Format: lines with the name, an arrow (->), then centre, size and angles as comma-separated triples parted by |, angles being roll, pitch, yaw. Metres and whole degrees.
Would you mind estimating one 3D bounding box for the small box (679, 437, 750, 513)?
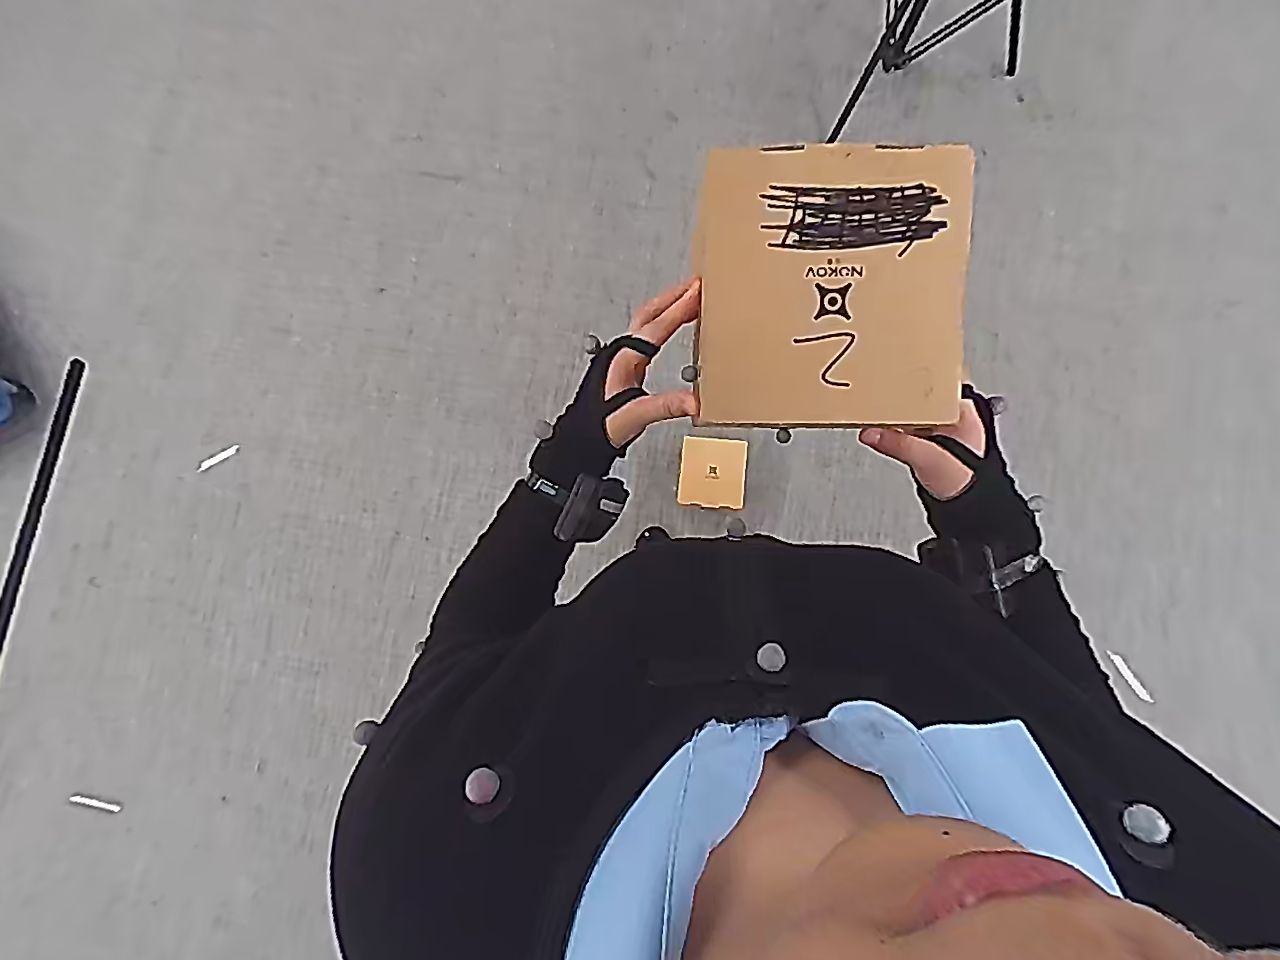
small box -> 0.193, -0.009, 1.439 | 0.168, 0.176, 0.179 | 5, 85, 4
